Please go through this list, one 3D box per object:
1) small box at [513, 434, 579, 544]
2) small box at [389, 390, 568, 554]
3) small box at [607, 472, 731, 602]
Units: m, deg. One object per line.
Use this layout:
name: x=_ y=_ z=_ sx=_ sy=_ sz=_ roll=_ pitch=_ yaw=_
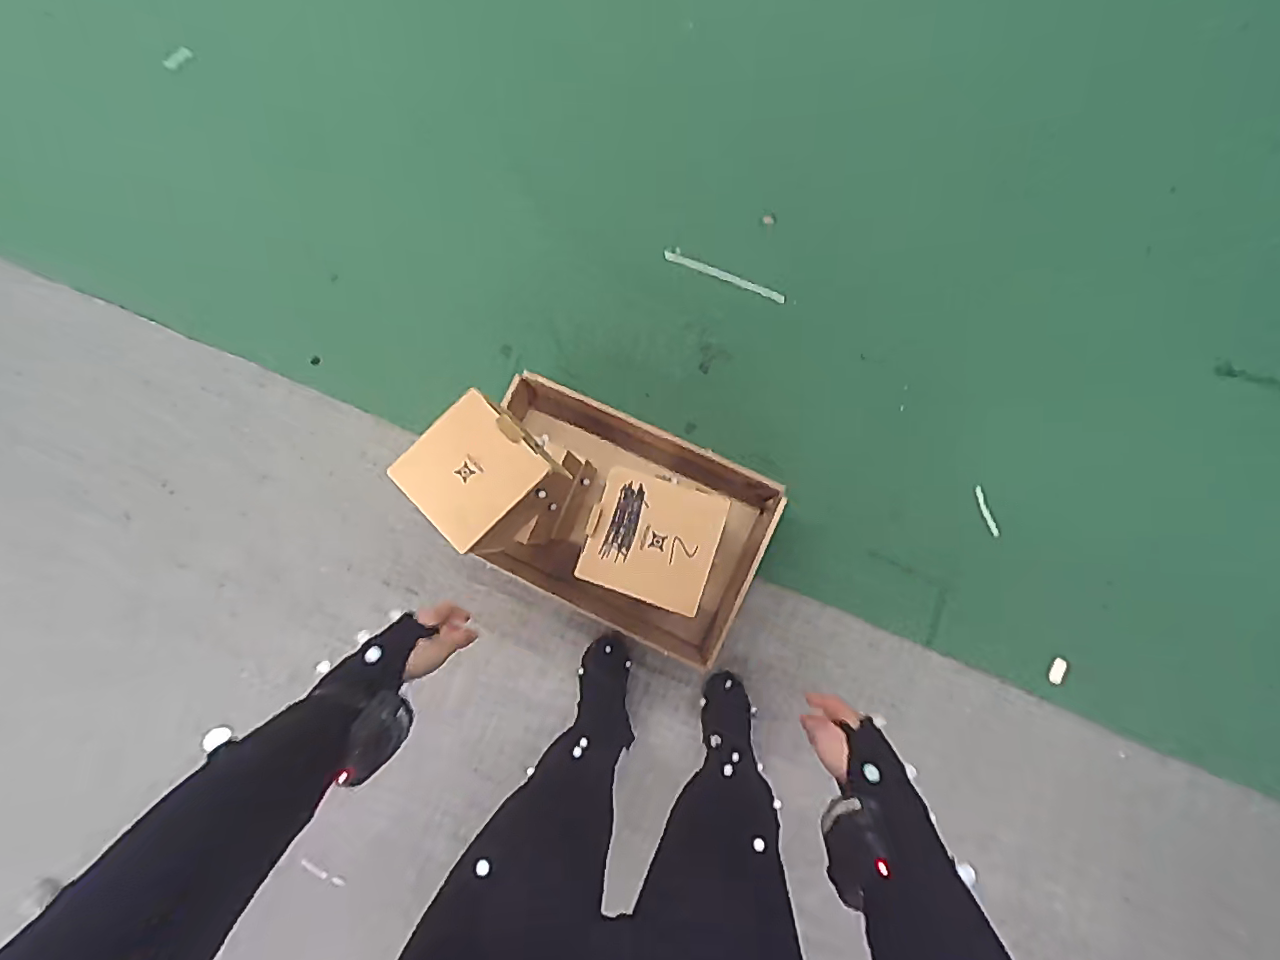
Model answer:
small box: x=-0.224 y=0.006 z=0.992 sx=0.168 sy=0.176 sz=0.179 roll=24 pitch=85 yaw=4
small box: x=-0.232 y=-0.004 z=0.830 sx=0.179 sy=0.176 sz=0.168 roll=-44 pitch=84 yaw=-3
small box: x=0.054 y=0.100 z=0.972 sx=0.168 sy=0.176 sz=0.179 roll=18 pitch=87 yaw=7
